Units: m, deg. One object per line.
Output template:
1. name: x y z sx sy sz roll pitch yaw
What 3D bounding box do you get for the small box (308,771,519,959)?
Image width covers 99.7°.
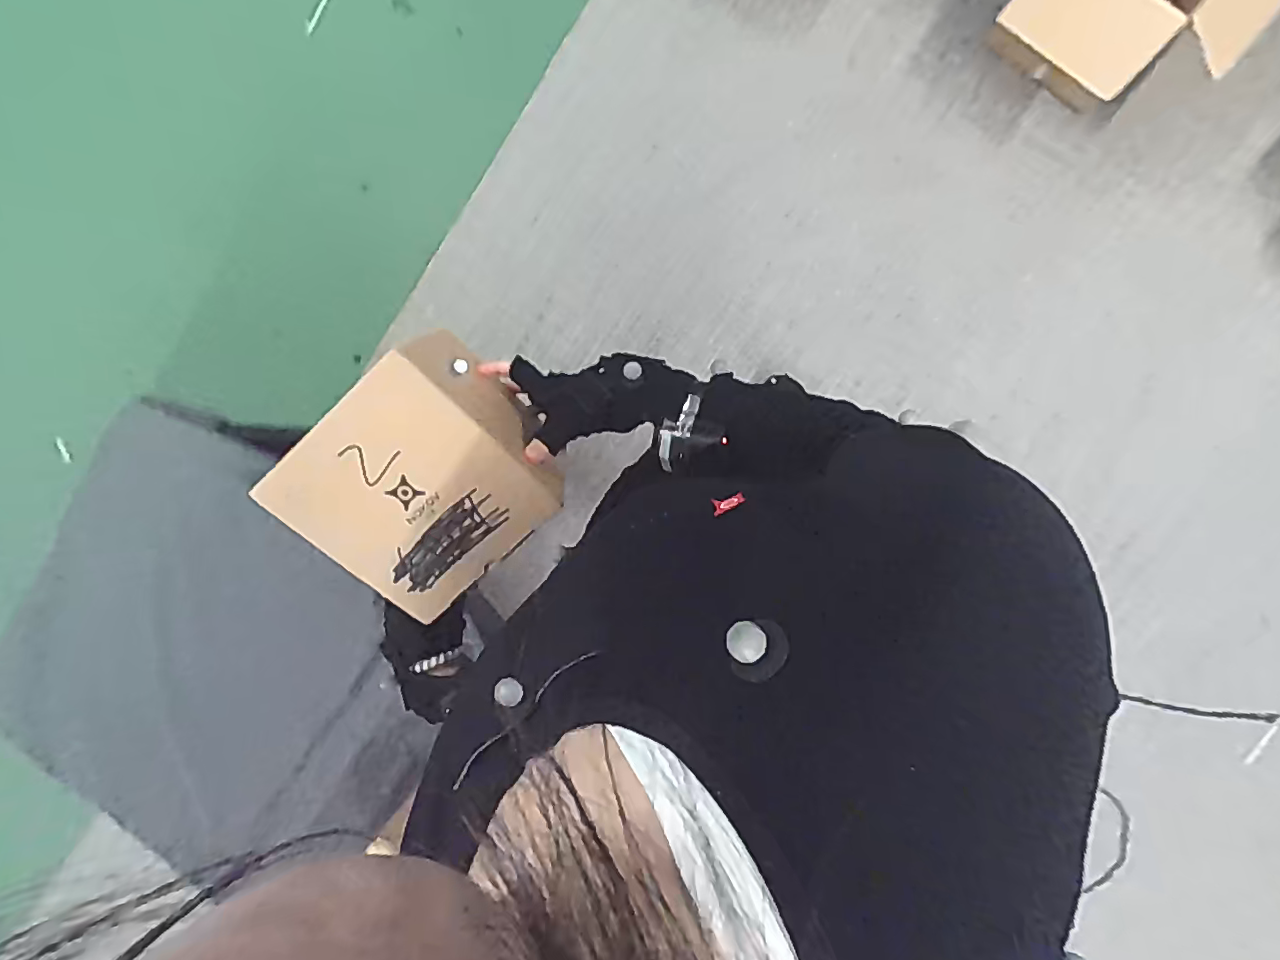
1. small box: -0.293 0.552 0.739 0.168 0.176 0.179 35 95 4
